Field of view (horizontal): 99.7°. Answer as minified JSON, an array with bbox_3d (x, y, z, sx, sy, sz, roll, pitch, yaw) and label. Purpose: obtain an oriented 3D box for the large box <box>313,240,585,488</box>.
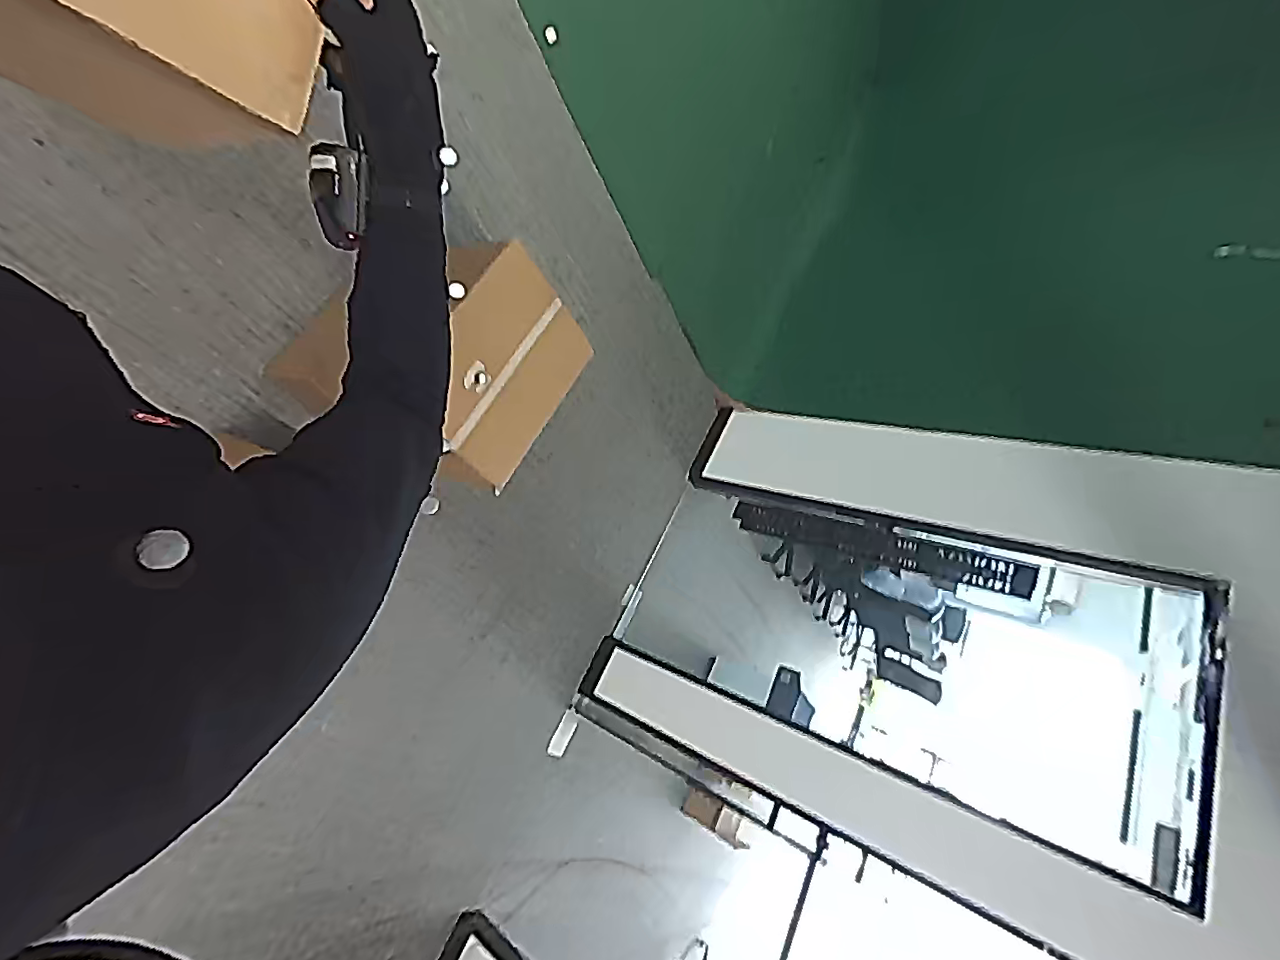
[{"bbox_3d":[-0.395,-0.255,1.175,0.408,0.320,0.320,-60,140,-21],"label":"large box"}]
